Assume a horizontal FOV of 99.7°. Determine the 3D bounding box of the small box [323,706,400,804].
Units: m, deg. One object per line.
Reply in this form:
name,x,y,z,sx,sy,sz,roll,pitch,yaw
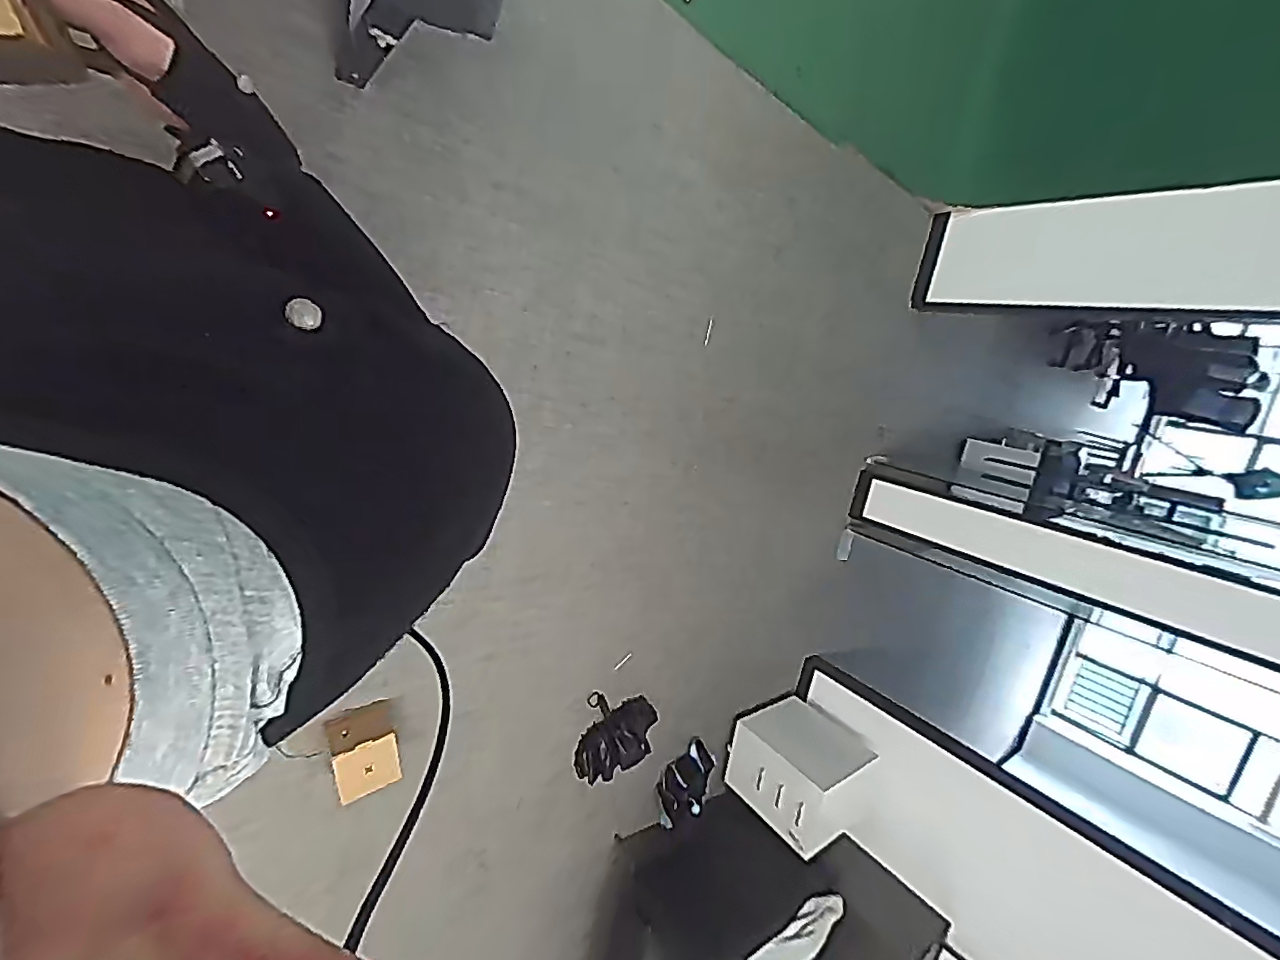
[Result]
small box,-0.834,0.806,1.614,0.168,0.176,0.179,-13,115,-33
